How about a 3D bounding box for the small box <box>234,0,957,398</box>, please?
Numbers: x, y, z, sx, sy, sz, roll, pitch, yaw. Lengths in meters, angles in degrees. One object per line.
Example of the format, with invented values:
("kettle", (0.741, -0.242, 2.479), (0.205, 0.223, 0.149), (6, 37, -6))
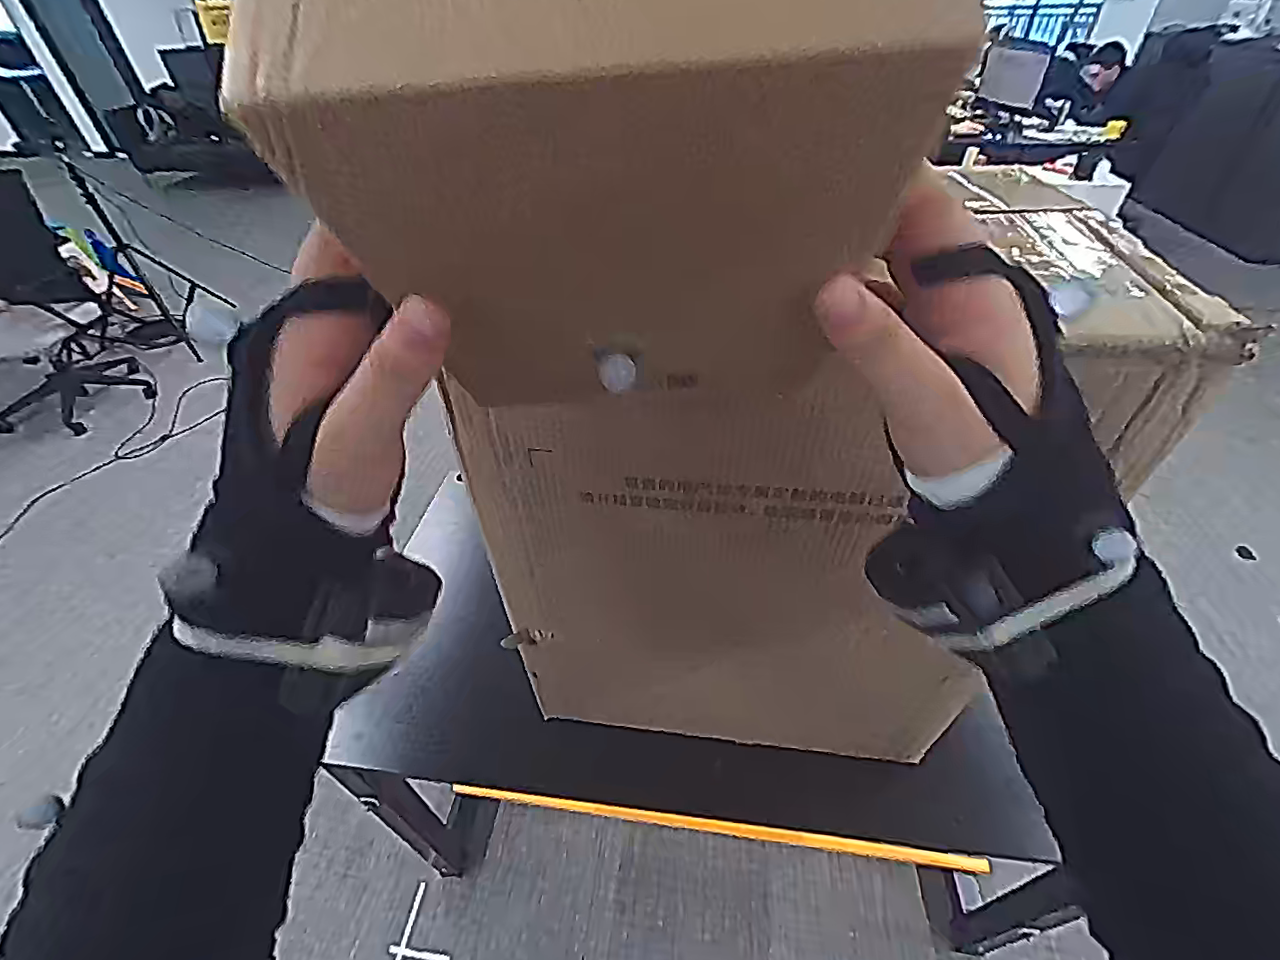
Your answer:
("small box", (-0.008, -0.150, 0.221), (0.168, 0.176, 0.179), (-2, 73, 4))
